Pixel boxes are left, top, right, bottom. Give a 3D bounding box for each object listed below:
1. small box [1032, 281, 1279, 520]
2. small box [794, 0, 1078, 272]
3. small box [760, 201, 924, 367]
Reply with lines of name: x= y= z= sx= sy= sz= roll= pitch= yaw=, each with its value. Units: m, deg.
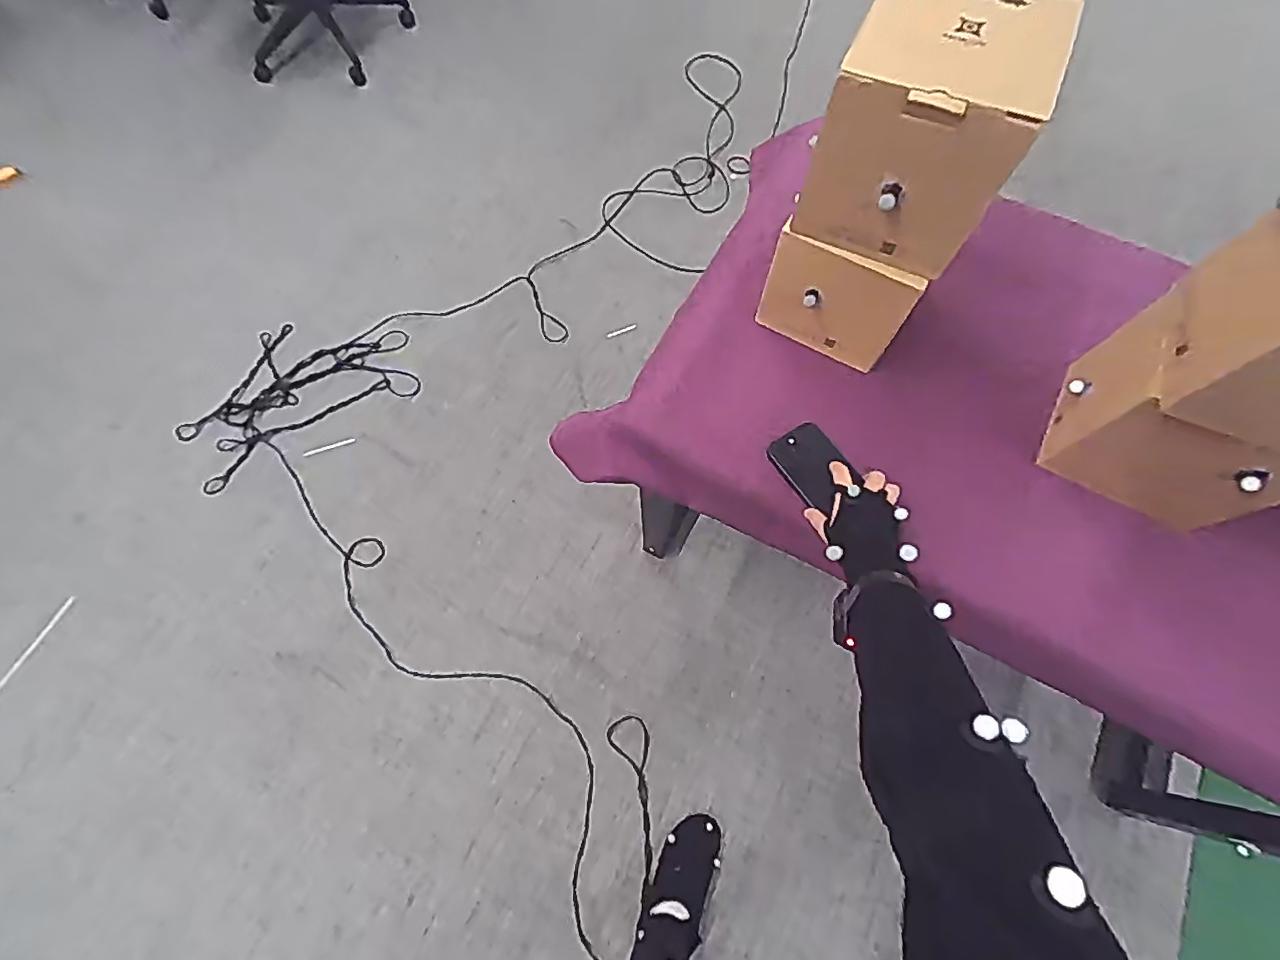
small box: x=0.589 y=-0.073 z=0.592 sx=0.179 sy=0.176 sz=0.168 roll=29 pitch=72 yaw=12
small box: x=0.266 y=-0.340 z=0.526 sx=0.168 sy=0.176 sz=0.179 roll=25 pitch=72 yaw=10
small box: x=0.265 y=-0.275 z=0.677 sx=0.168 sy=0.176 sz=0.179 roll=30 pitch=73 yaw=12
